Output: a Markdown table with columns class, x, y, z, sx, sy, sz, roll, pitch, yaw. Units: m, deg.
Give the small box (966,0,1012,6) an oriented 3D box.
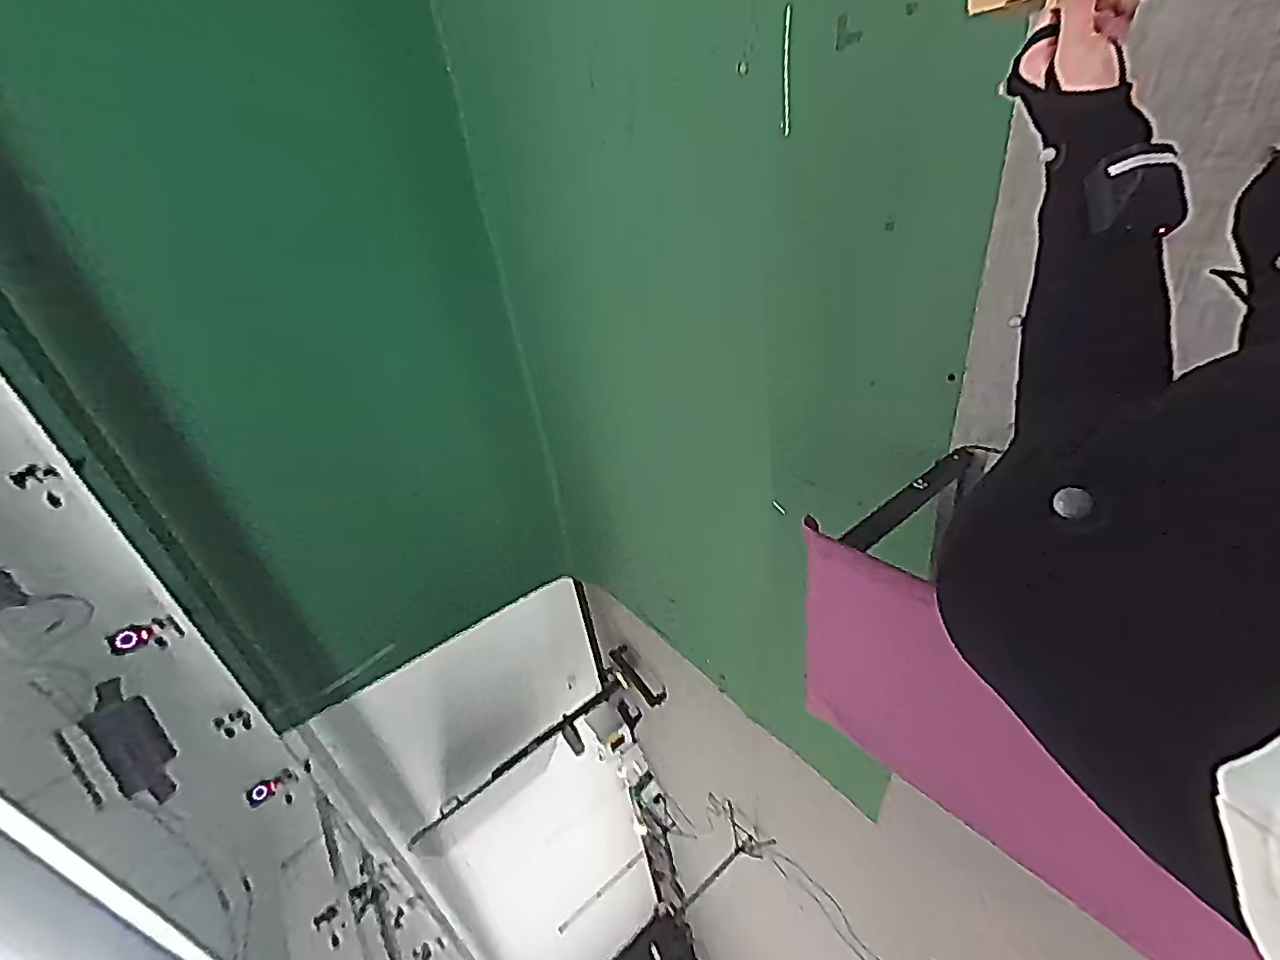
| class | x | y | z | sx | sy | sz | roll | pitch | yaw |
| --- | --- | --- | --- | --- | --- | --- | --- | --- | --- |
| small box | 0.390 | -0.511 | 0.428 | 0.168 | 0.176 | 0.179 | 22 | 134 | 41 |
